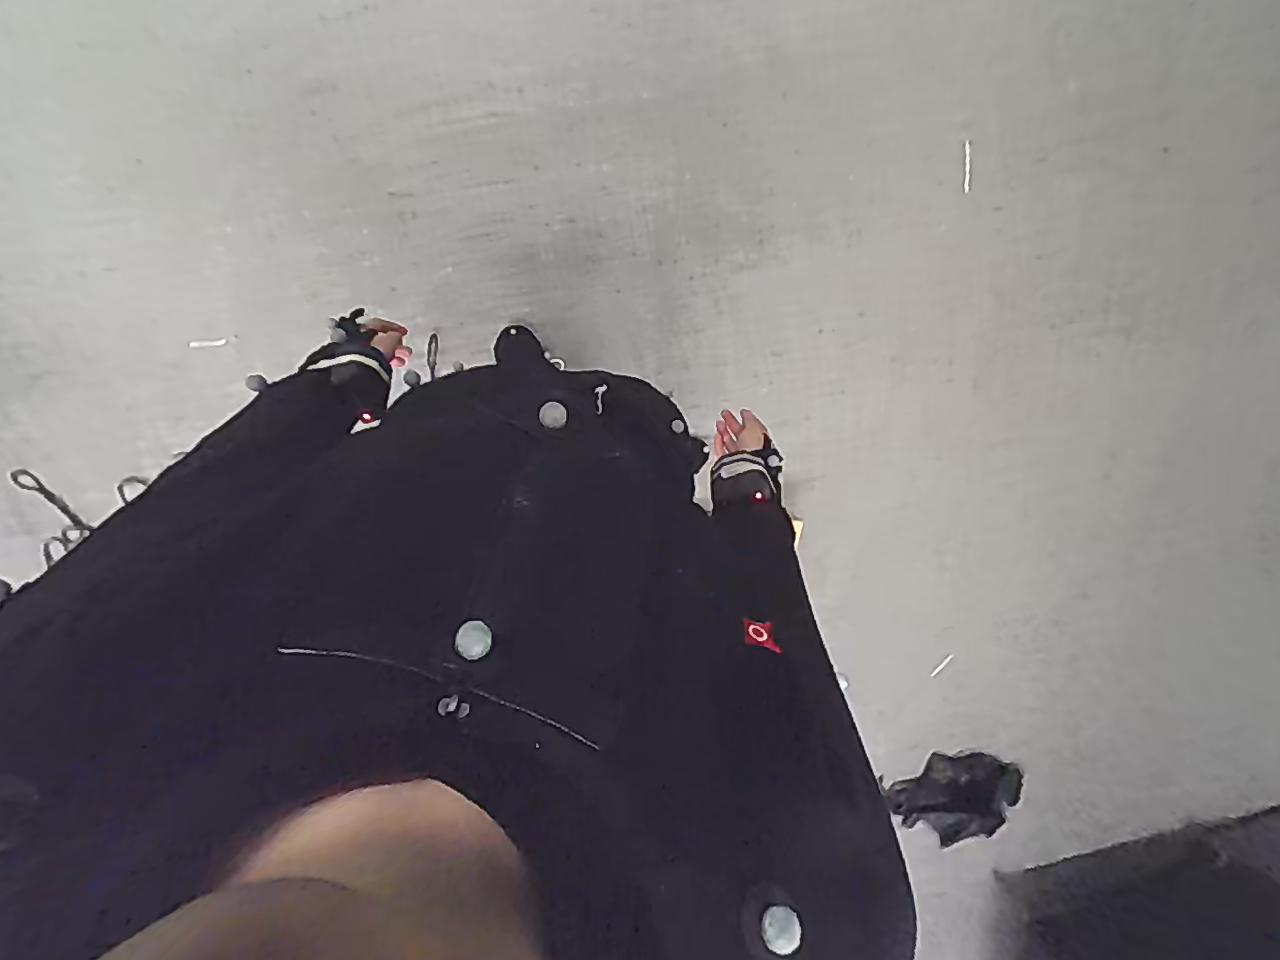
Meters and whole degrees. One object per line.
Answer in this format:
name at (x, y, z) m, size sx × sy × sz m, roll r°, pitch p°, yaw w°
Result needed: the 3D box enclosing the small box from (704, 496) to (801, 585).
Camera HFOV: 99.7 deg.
small box at (0.281, 0.150, 1.390) m, size 0.179 × 0.176 × 0.168 m, roll 9°, pitch 105°, yaw -11°
